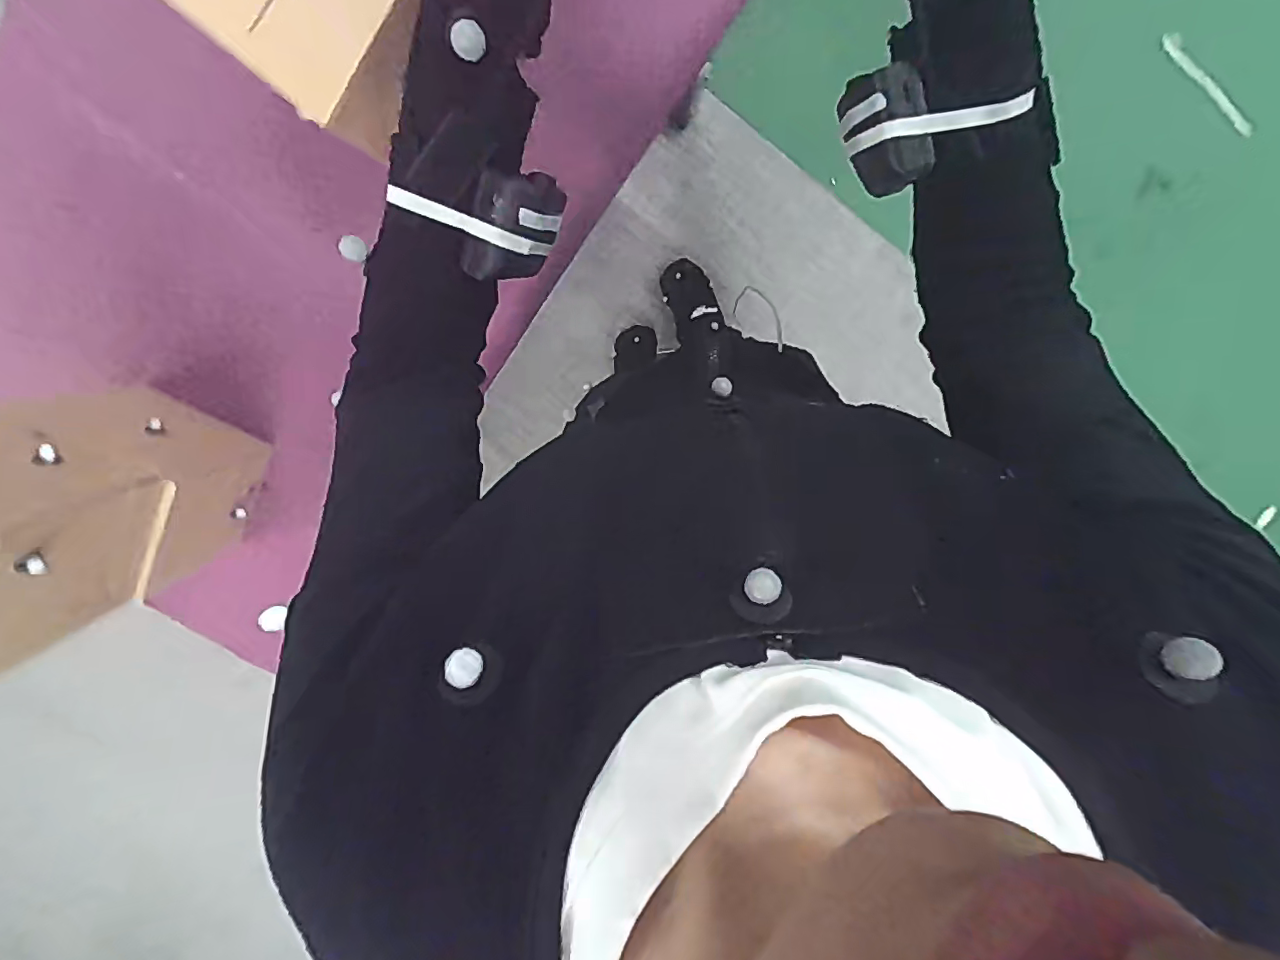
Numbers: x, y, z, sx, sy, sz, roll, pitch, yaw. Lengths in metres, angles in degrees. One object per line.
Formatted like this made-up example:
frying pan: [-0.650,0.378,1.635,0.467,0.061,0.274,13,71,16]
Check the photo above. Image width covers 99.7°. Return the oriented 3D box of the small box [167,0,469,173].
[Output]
small box: [-0.289,-0.442,0.520,0.168,0.176,0.179,41,103,-9]

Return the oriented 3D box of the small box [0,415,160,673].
small box: [-0.608,0.060,0.505,0.168,0.176,0.179,26,105,-8]
